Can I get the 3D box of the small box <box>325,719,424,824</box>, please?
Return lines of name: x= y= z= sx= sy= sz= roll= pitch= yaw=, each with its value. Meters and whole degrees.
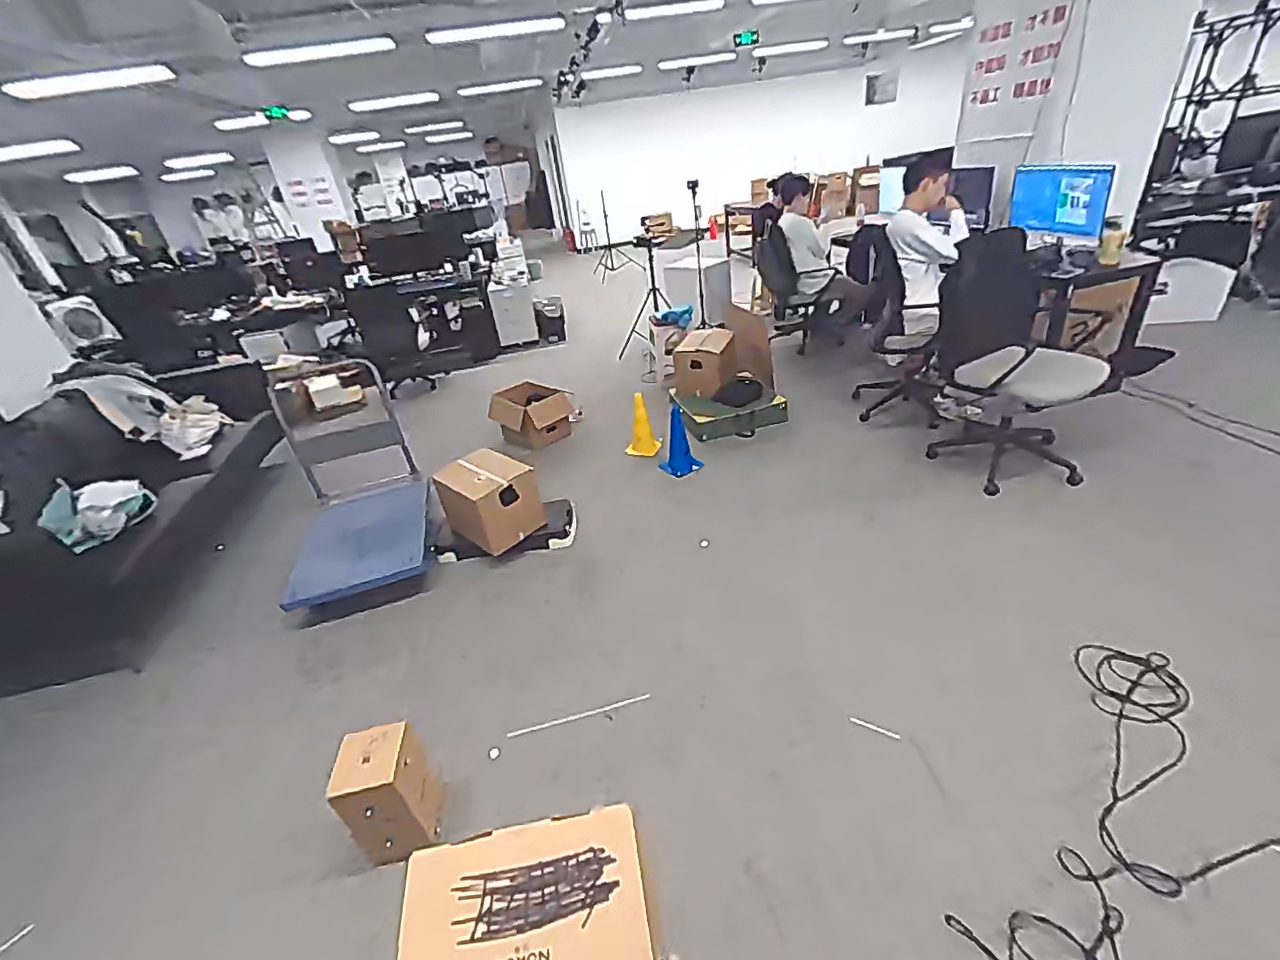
small box: x=-0.682 y=0.767 z=1.414 sx=0.168 sy=0.176 sz=0.179 roll=-11 pitch=31 yaw=-5

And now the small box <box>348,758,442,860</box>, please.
small box: x=-0.666 y=0.909 z=1.497 sx=0.179 sy=0.176 sz=0.168 roll=-13 pitch=31 yaw=-5
